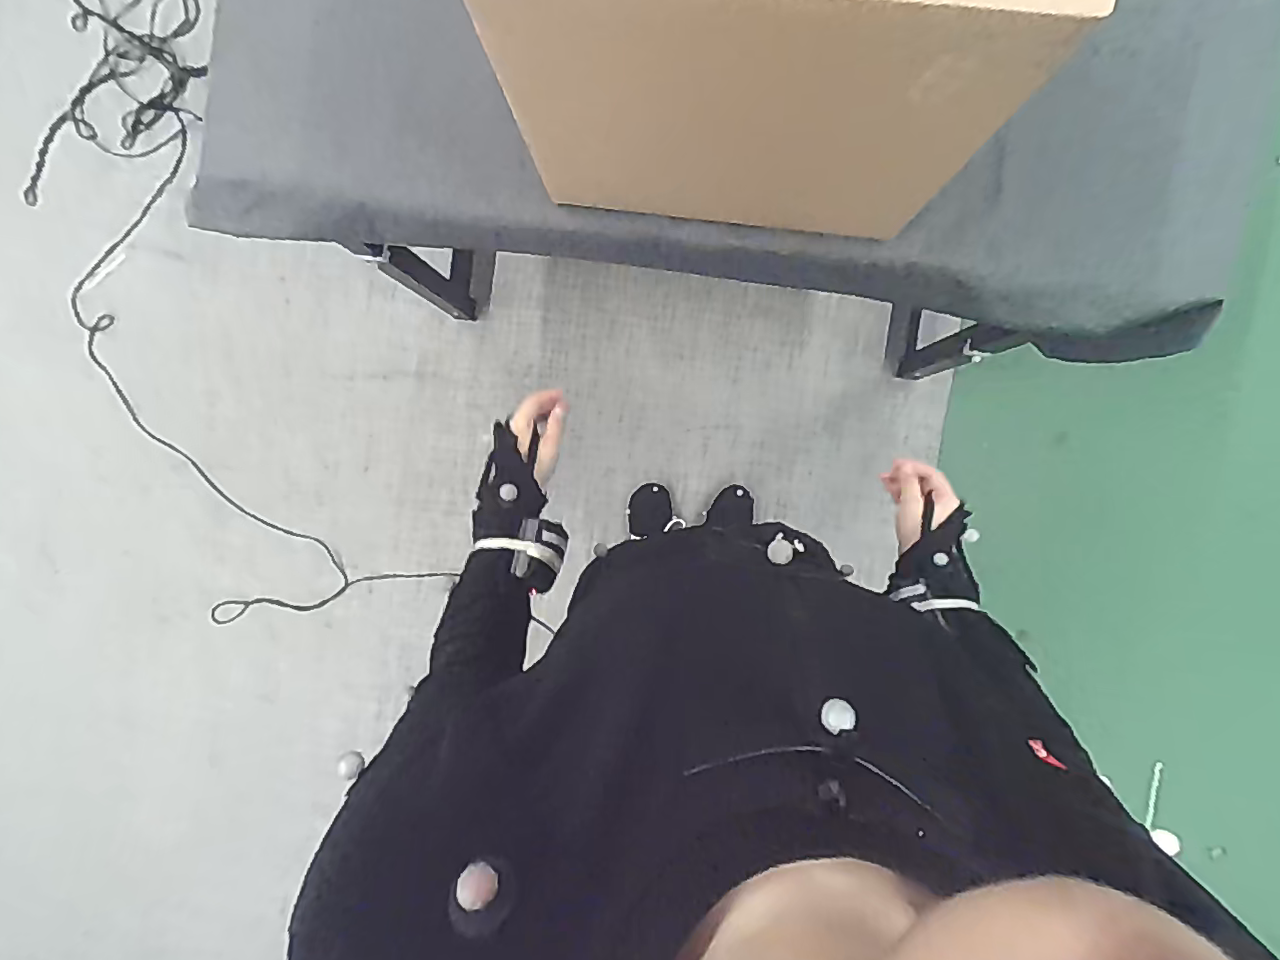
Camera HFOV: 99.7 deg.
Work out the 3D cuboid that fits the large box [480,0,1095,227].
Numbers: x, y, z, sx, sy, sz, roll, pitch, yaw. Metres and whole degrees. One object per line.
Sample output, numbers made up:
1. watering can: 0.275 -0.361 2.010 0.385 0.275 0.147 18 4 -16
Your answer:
1. large box: 0.102 -0.458 0.480 0.408 0.320 0.320 7 91 2
